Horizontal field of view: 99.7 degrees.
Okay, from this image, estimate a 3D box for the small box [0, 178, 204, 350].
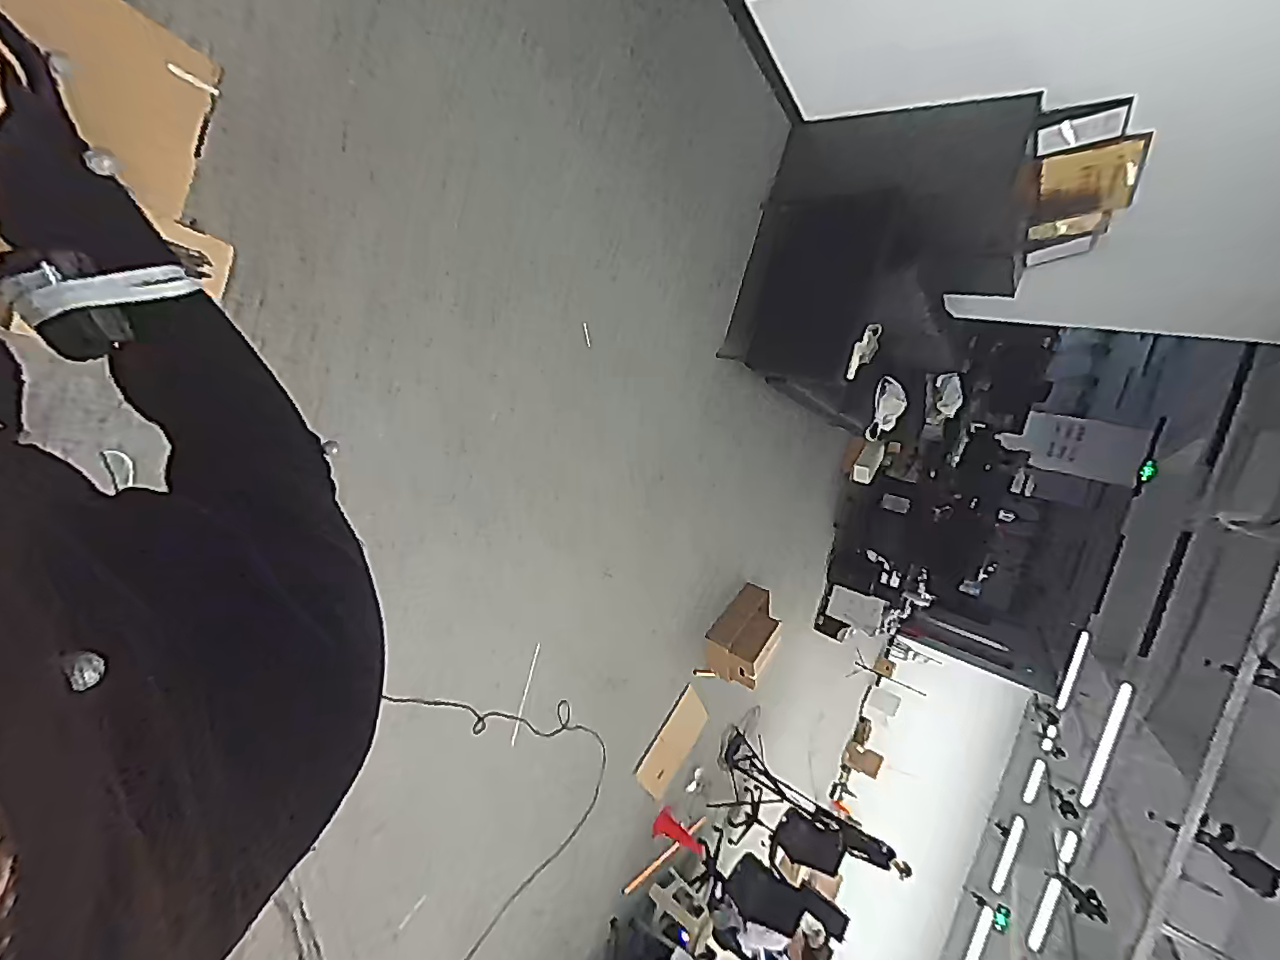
[{"bbox_3d":[-0.765,-0.296,0.763,0.179,0.176,0.168,10,95,-55],"label":"small box"}]
